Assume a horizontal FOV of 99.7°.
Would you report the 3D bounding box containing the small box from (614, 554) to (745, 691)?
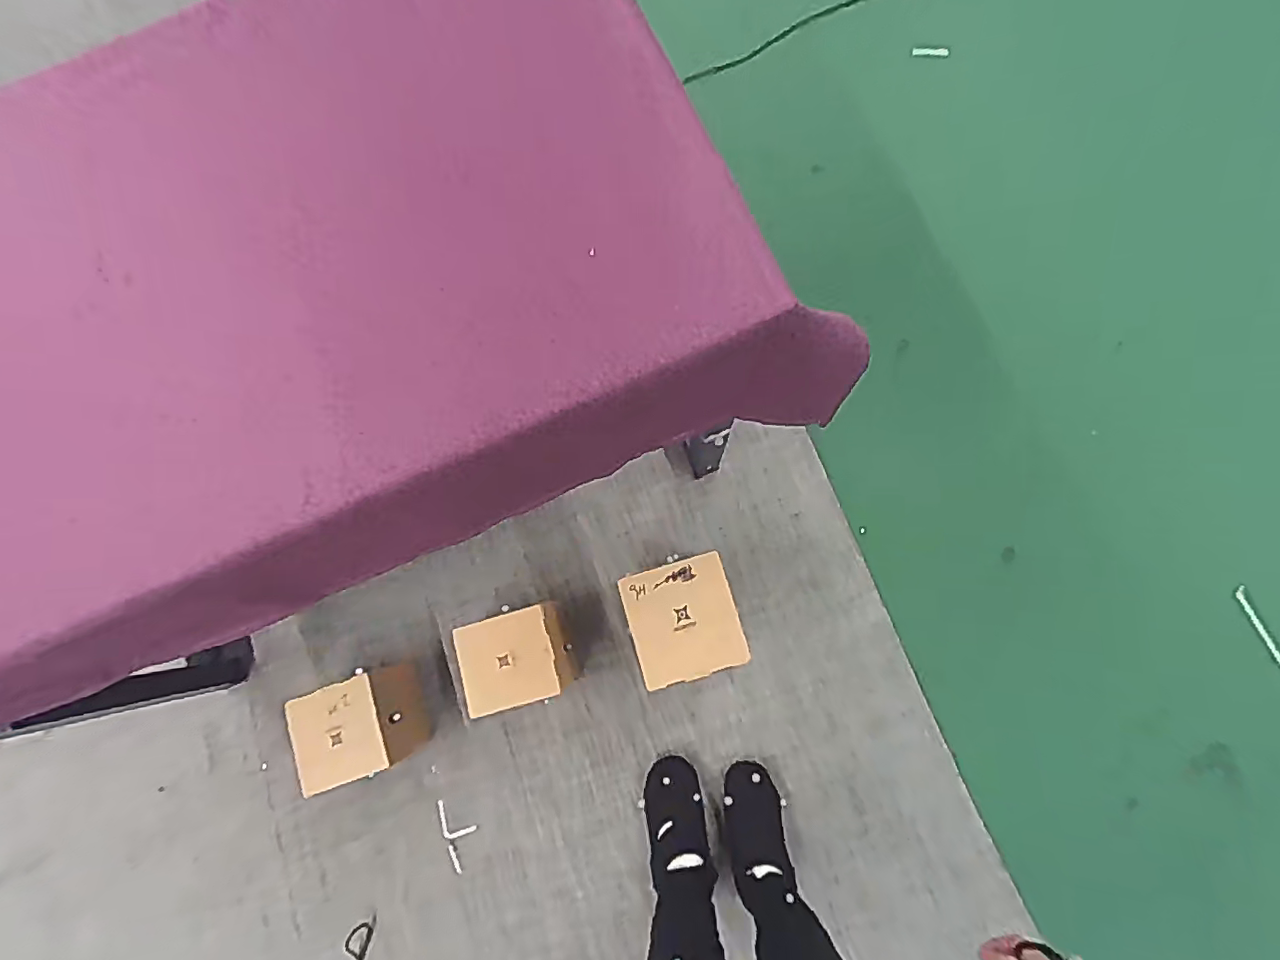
[{"bbox_3d":[0.065,0.228,0.904,0.168,0.176,0.179,-16,80,1],"label":"small box"}]
